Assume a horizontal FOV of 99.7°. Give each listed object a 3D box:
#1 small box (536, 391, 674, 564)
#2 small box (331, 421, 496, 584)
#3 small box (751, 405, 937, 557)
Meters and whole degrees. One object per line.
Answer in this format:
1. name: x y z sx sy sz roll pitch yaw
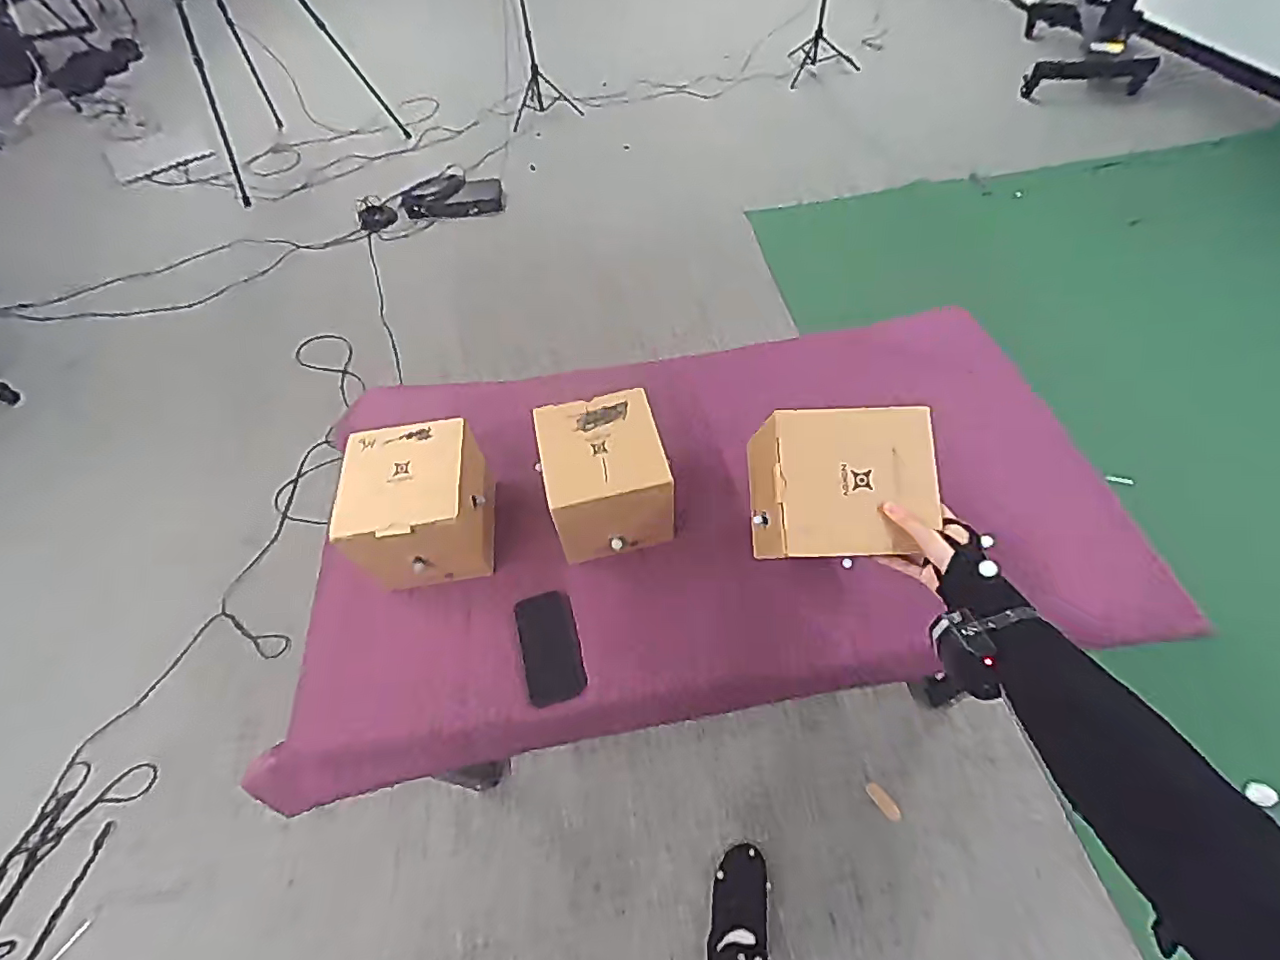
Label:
1. small box: -0.050 0.000 0.802 0.168 0.176 0.179 -12 56 -4
2. small box: -0.315 0.042 0.793 0.168 0.176 0.179 -8 56 -1
3. small box: 0.237 0.010 0.678 0.179 0.176 0.168 -1 80 2
